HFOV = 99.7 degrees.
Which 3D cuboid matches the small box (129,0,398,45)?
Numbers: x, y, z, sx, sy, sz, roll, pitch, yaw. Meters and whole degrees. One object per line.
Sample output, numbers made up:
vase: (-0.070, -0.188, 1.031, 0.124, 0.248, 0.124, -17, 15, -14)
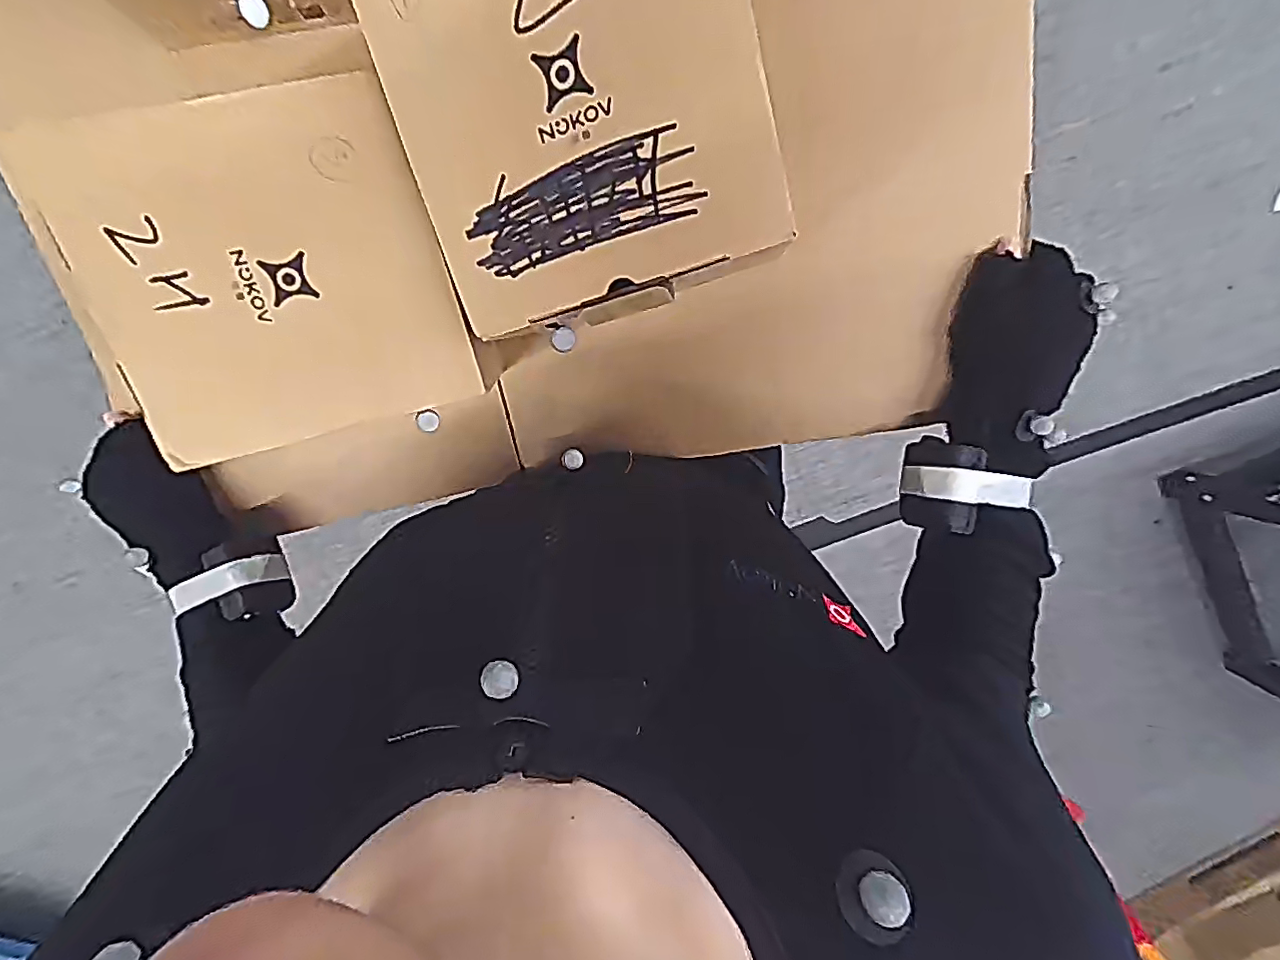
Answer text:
small box: (-0.249, -0.377, 0.281, 0.168, 0.176, 0.179, -13, 107, -8)
